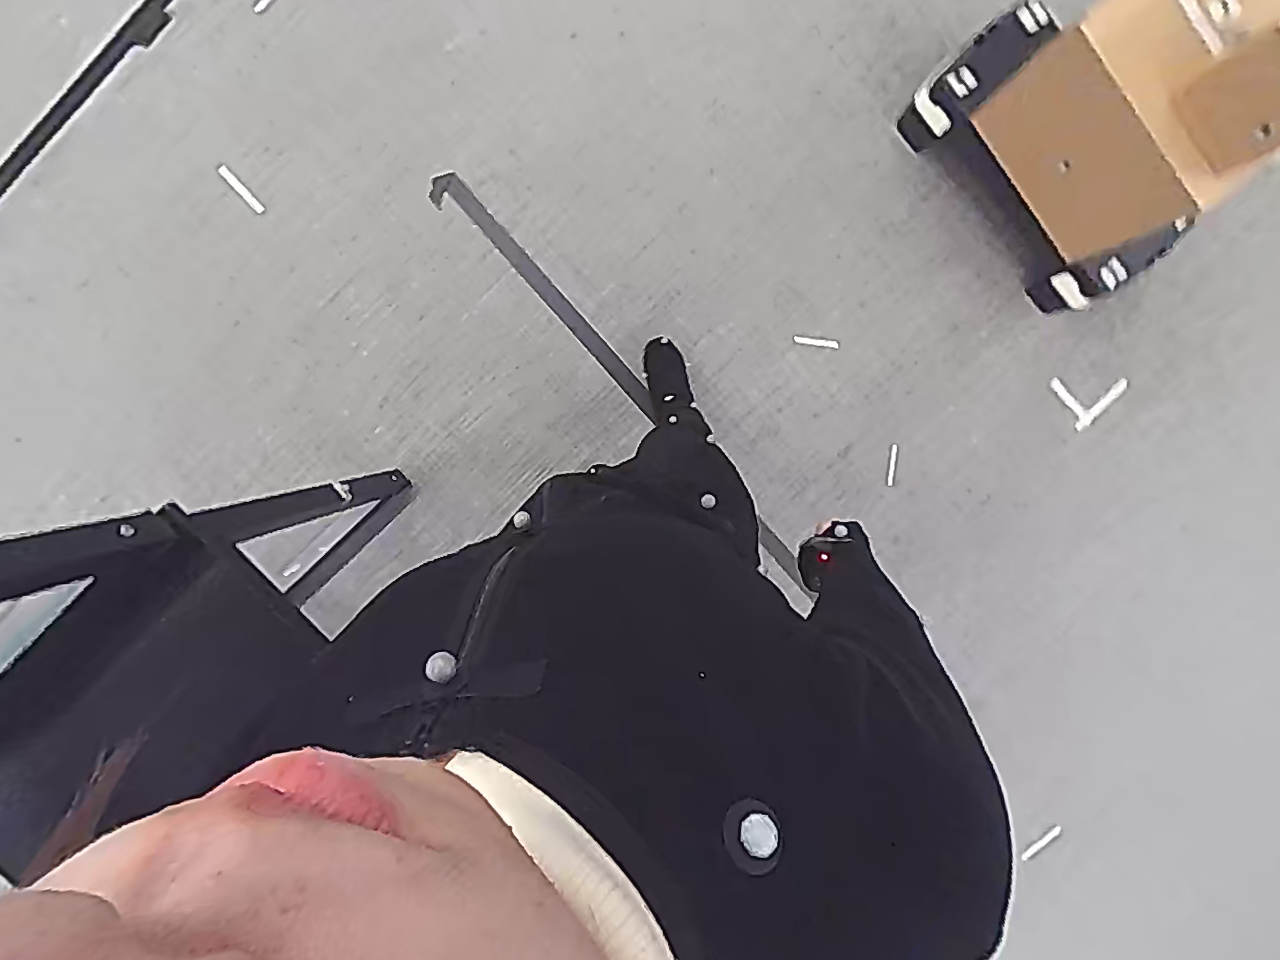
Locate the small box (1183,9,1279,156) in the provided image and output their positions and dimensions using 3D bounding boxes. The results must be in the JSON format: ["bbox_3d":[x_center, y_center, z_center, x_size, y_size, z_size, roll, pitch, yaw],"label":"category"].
[{"bbox_3d":[1.013,-0.635,0.823,0.168,0.176,0.179,-36,94,4],"label":"small box"}]

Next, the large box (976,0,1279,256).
[{"bbox_3d":[0.981,-0.735,1.059,0.320,0.320,0.408,-39,93,3],"label":"large box"}]

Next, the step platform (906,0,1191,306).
[{"bbox_3d":[0.963,-0.777,1.295,0.286,0.204,0.684,-37,94,4],"label":"step platform"}]
